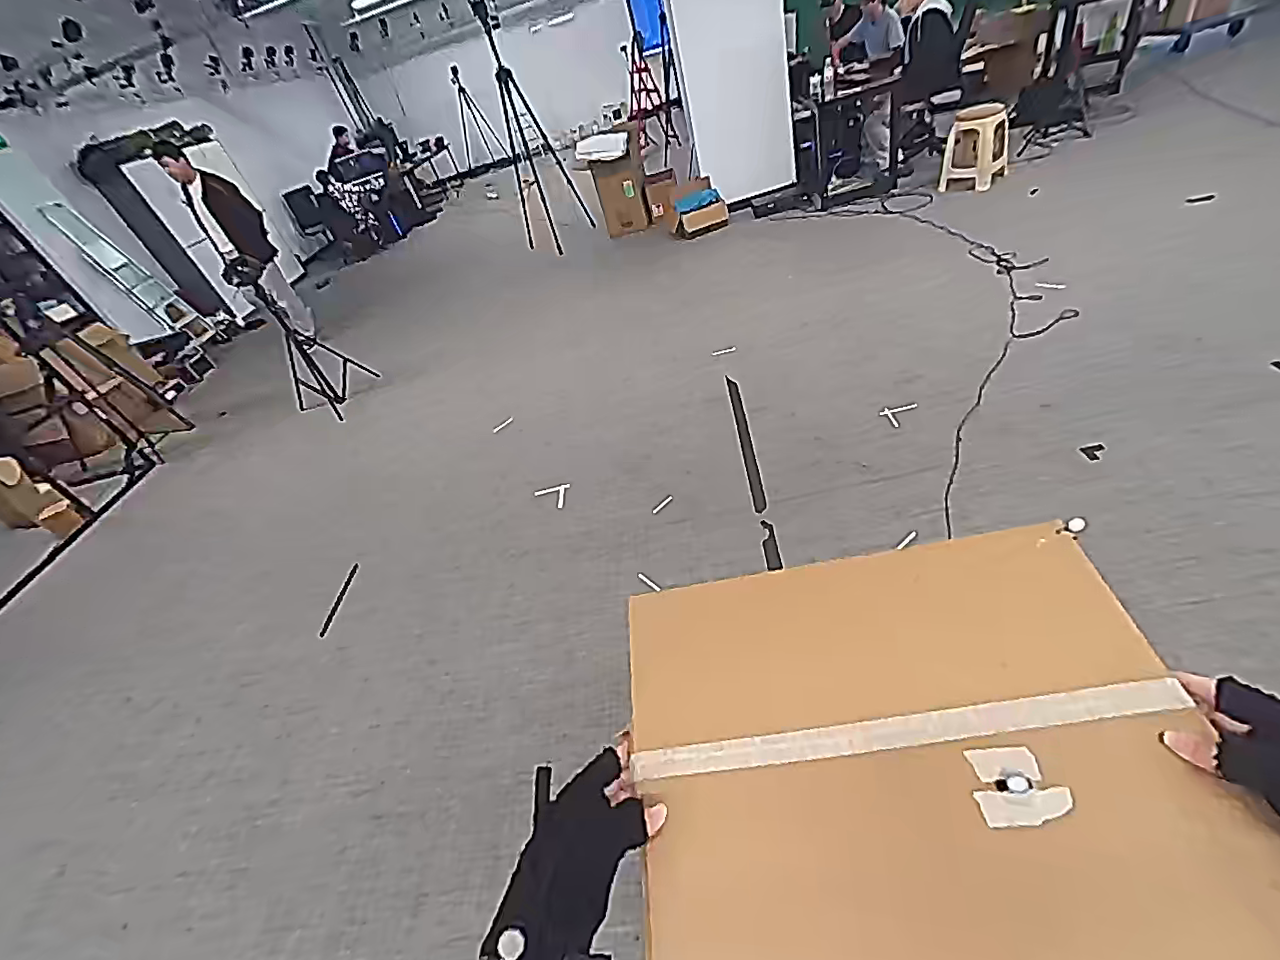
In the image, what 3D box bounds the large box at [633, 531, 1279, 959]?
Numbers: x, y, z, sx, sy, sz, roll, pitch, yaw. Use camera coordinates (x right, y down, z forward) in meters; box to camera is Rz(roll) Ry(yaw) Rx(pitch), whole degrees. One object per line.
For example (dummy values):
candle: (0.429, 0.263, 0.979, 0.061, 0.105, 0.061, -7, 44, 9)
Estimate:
large box: (0.229, 0.297, 0.536, 0.408, 0.320, 0.320, -12, 48, 8)
